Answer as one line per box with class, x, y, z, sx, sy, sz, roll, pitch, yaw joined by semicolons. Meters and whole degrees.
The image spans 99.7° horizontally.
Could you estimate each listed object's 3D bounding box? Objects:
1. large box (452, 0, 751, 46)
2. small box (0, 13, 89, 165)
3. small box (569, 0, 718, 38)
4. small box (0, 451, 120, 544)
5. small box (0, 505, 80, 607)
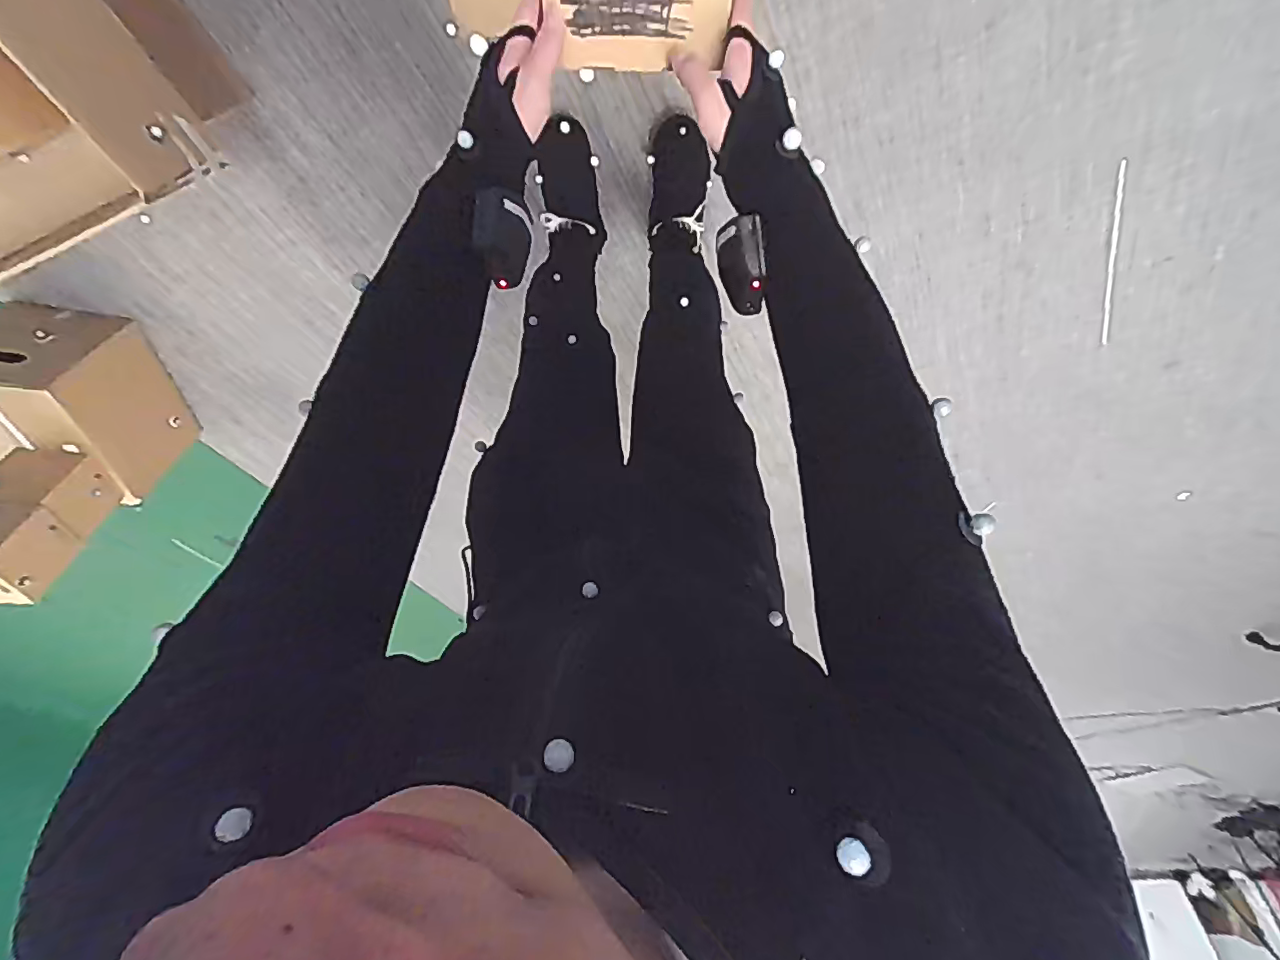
large box;-0.055;-0.827;0.730;0.408;0.320;0.320;-1;137;4
small box;-0.828;-0.464;0.624;0.168;0.176;0.179;-12;137;14
small box;0.008;-0.616;0.594;0.168;0.176;0.179;1;138;0
small box;-1.476;0.046;1.342;0.179;0.176;0.168;5;137;-6
small box;-1.467;0.167;1.231;0.179;0.176;0.168;6;137;-5
